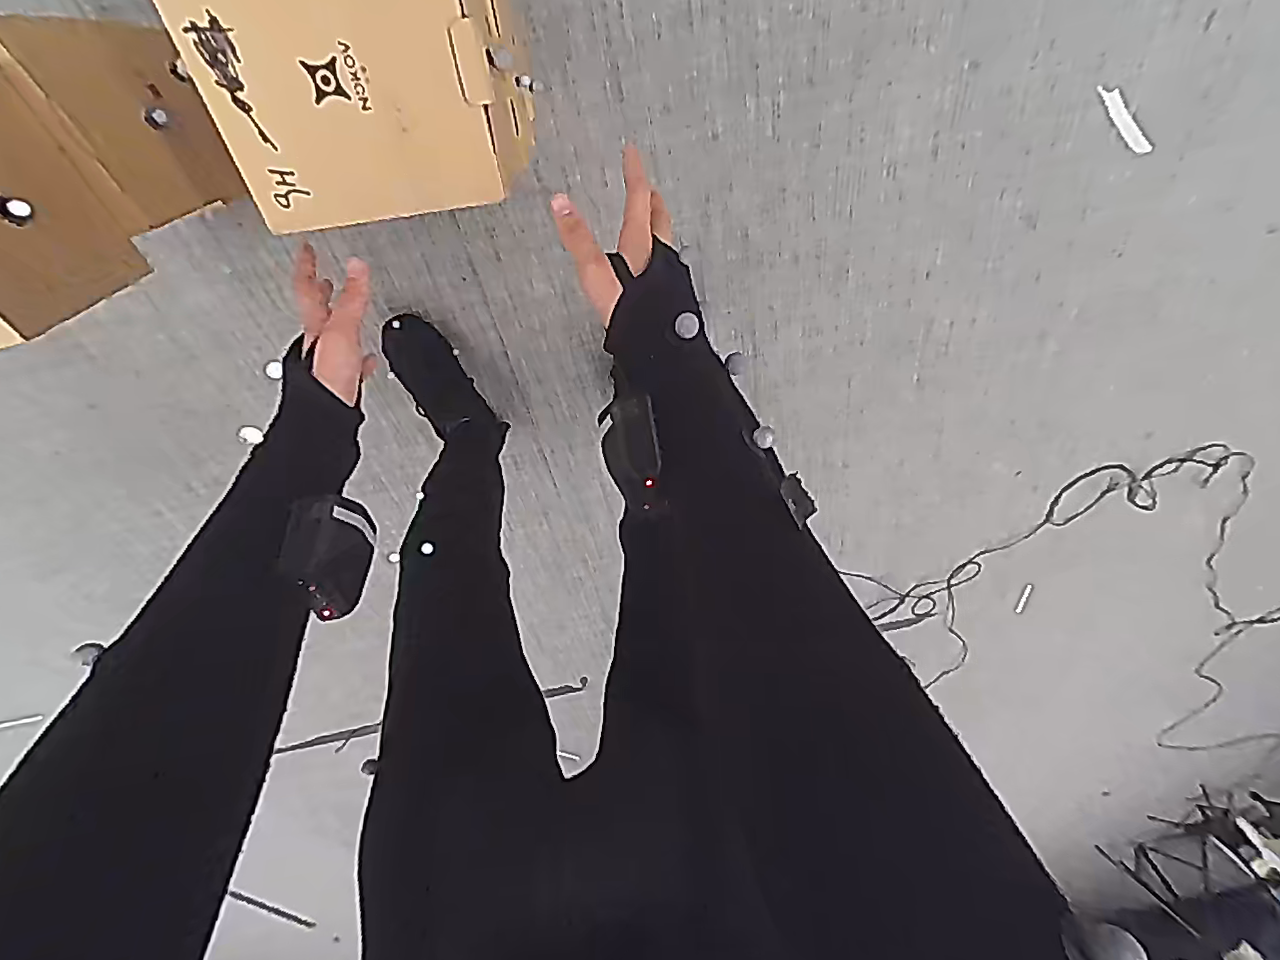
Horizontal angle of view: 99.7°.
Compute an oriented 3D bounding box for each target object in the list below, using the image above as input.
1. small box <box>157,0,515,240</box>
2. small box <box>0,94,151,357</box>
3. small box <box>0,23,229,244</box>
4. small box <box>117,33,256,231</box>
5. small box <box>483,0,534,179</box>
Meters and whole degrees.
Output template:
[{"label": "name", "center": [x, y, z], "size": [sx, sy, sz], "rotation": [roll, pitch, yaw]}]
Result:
[{"label": "small box", "center": [-0.198, -0.299, 0.406], "size": [0.179, 0.176, 0.168], "rotation": [-9, 129, -2]}, {"label": "small box", "center": [-0.569, -0.201, 0.430], "size": [0.168, 0.176, 0.179], "rotation": [-12, 130, 3]}, {"label": "small box", "center": [-0.576, -0.324, 0.541], "size": [0.179, 0.176, 0.168], "rotation": [-15, 129, 5]}, {"label": "small box", "center": [-0.606, -0.421, 0.671], "size": [0.168, 0.176, 0.179], "rotation": [-15, 129, 4]}, {"label": "small box", "center": [-0.210, -0.397, 0.537], "size": [0.179, 0.176, 0.168], "rotation": [-8, 129, -2]}]
